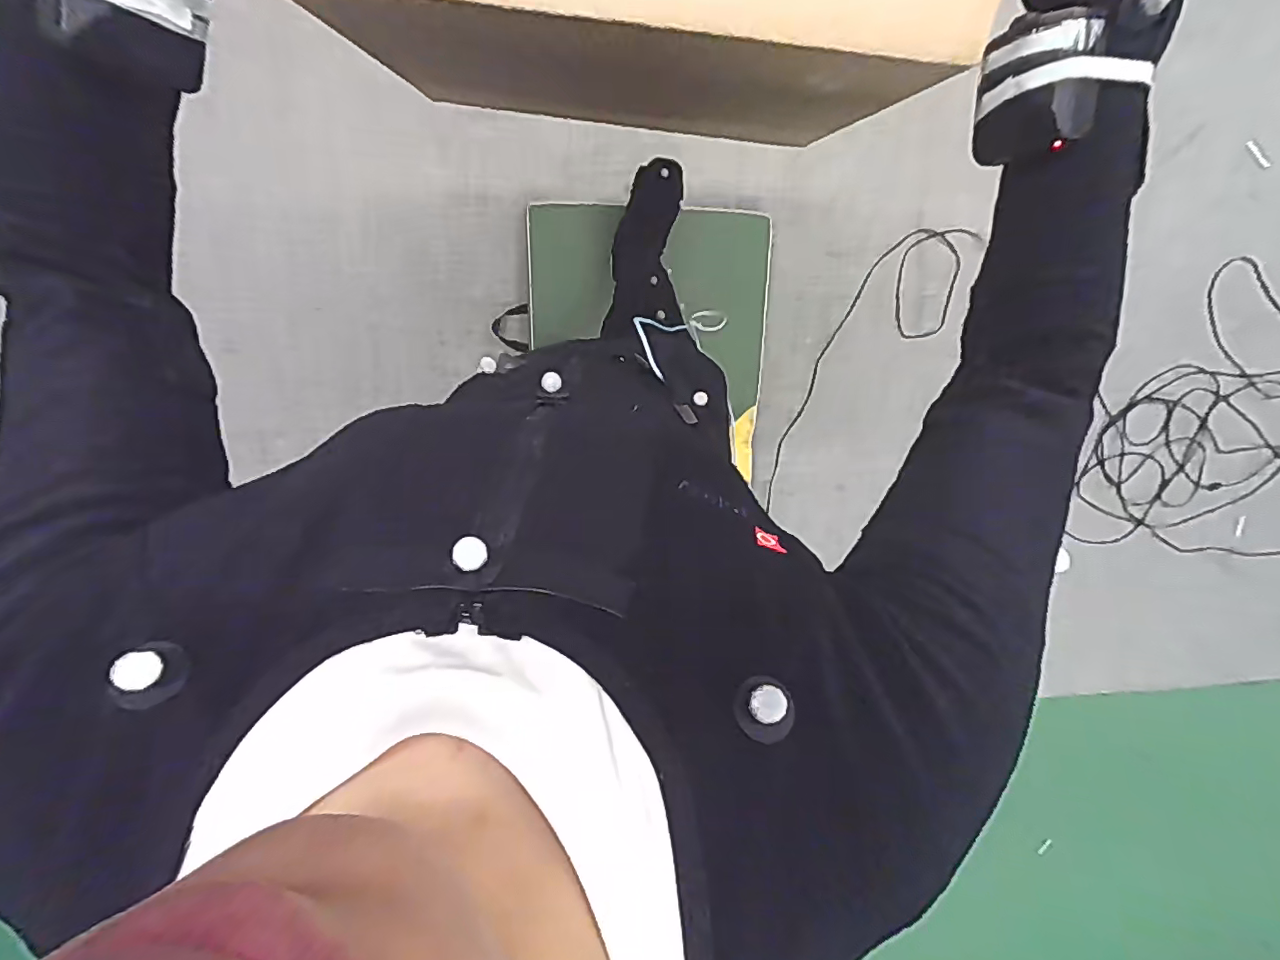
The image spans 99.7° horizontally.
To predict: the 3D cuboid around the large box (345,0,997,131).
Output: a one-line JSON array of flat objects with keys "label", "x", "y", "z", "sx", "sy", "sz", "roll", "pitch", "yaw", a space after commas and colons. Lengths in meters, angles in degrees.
[{"label": "large box", "x": 0.010, "y": -0.468, "z": 0.378, "sx": 0.408, "sy": 0.320, "sz": 0.320, "roll": 3, "pitch": 115, "yaw": -5}]
